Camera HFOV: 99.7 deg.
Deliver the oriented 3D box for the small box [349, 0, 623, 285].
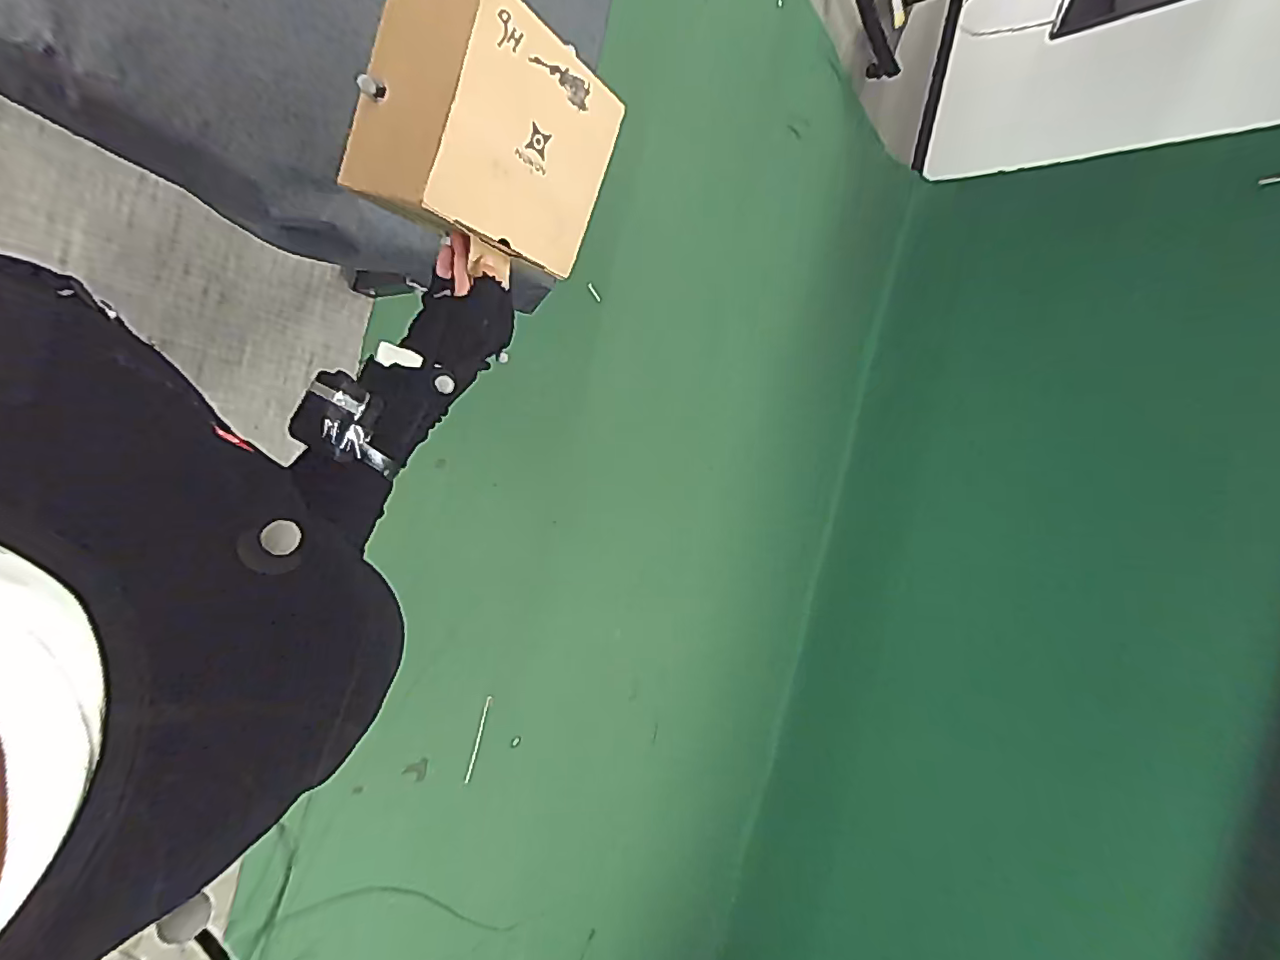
[{"bbox_3d":[-0.153,-0.319,0.524,0.168,0.176,0.179,7,109,-54],"label":"small box"}]
